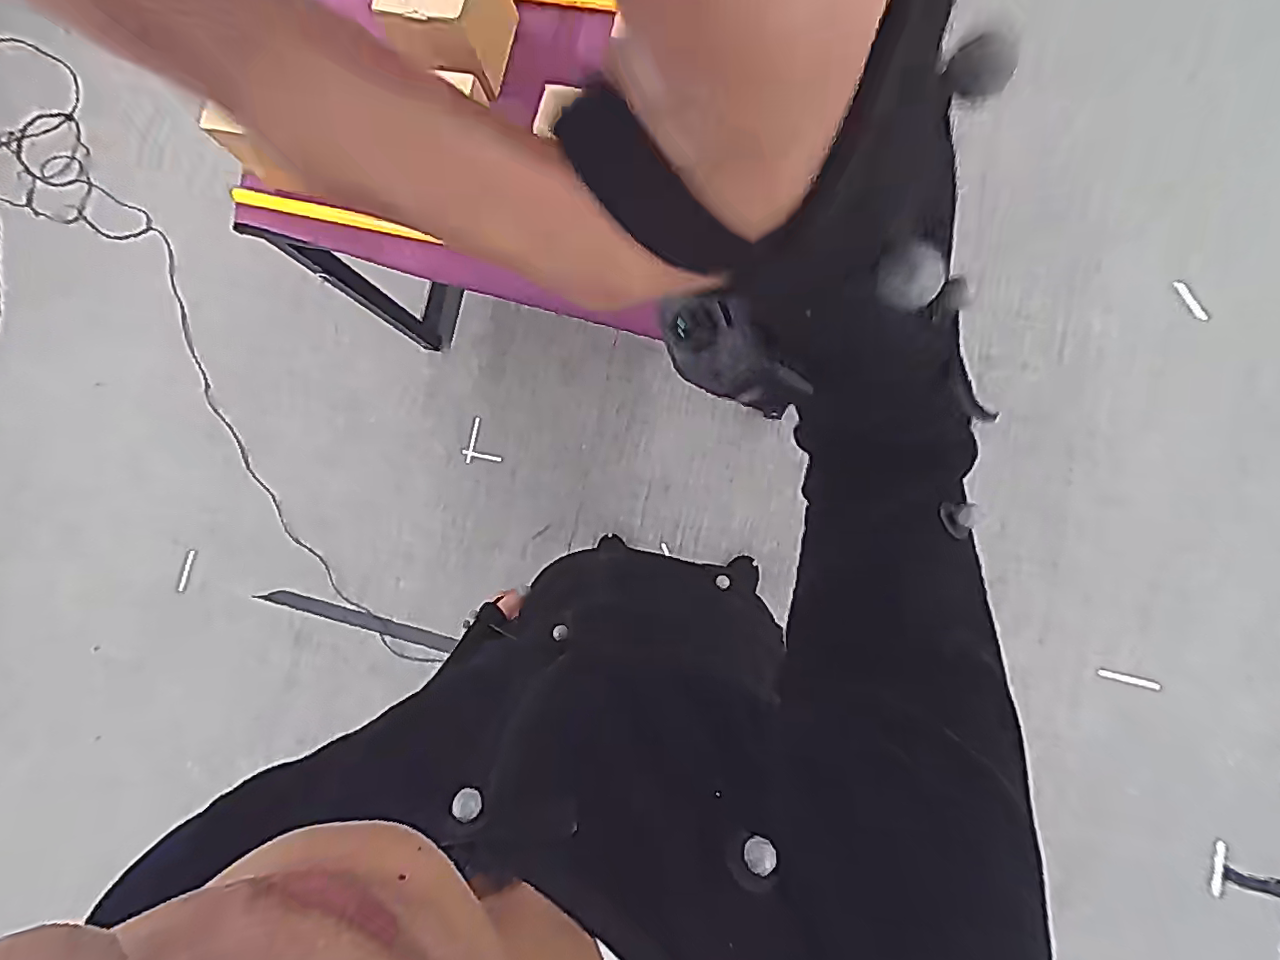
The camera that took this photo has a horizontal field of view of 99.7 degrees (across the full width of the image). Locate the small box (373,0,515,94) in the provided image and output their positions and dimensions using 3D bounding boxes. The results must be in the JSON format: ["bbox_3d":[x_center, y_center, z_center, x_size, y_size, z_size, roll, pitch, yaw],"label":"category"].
[{"bbox_3d":[-0.343,-0.858,0.984,0.168,0.176,0.179,14,87,8],"label":"small box"}]

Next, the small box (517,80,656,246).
[{"bbox_3d":[-0.080,-0.526,0.919,0.179,0.176,0.168,16,84,9],"label":"small box"}]

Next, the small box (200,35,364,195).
[{"bbox_3d":[-0.640,-0.658,0.995,0.179,0.176,0.168,13,85,5],"label":"small box"}]
